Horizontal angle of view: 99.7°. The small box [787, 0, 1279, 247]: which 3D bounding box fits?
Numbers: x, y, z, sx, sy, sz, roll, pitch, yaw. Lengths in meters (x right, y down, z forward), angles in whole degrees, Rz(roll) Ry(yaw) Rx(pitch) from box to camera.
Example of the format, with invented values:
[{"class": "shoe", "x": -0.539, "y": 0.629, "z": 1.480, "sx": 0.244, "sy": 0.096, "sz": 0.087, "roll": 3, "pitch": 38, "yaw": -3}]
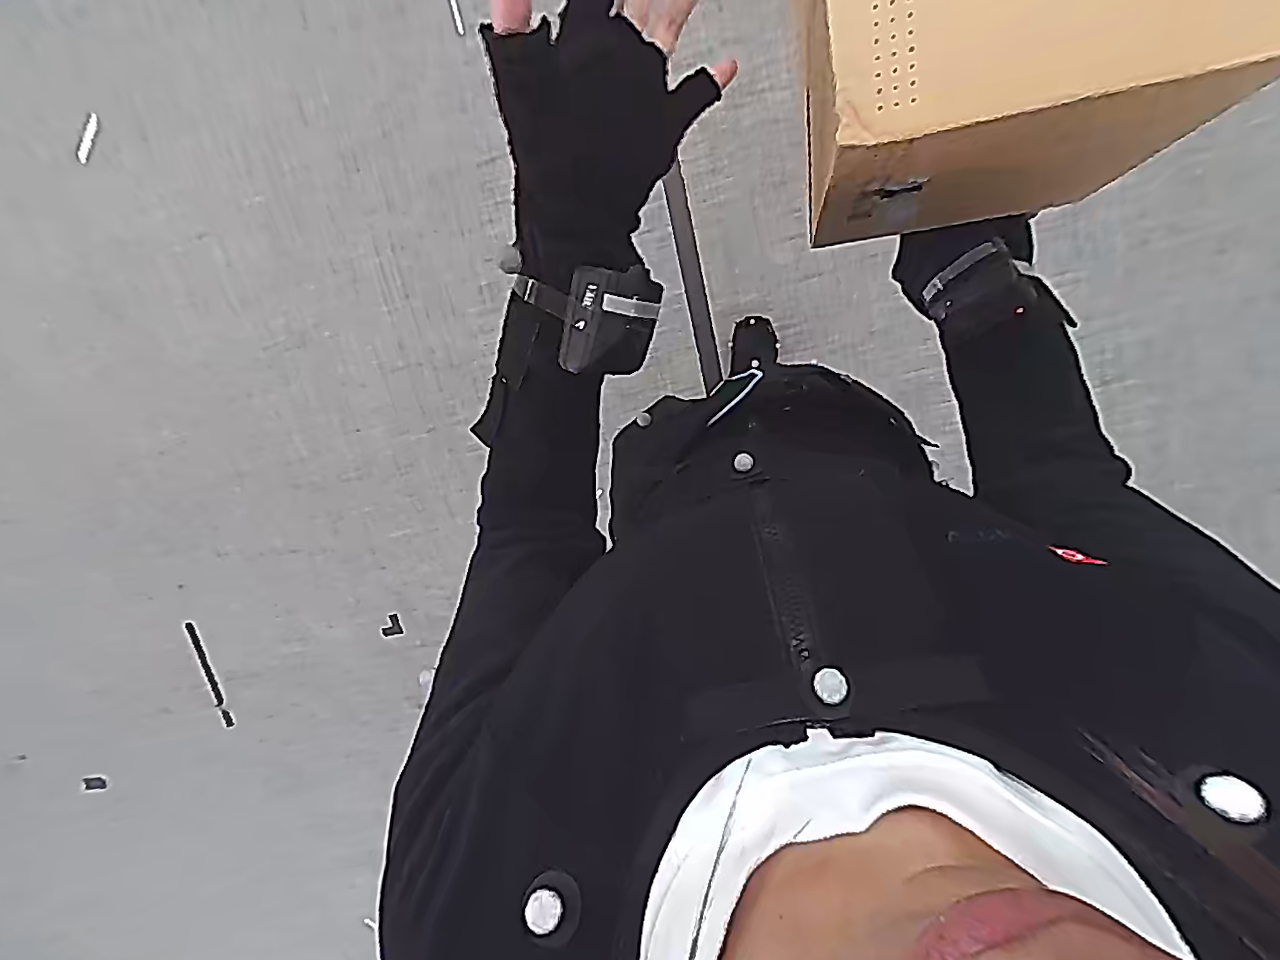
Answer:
[{"class": "small box", "x": 0.168, "y": -0.248, "z": 0.290, "sx": 0.176, "sy": 0.168, "sz": 0.179, "roll": -4, "pitch": 97, "yaw": 15}]
